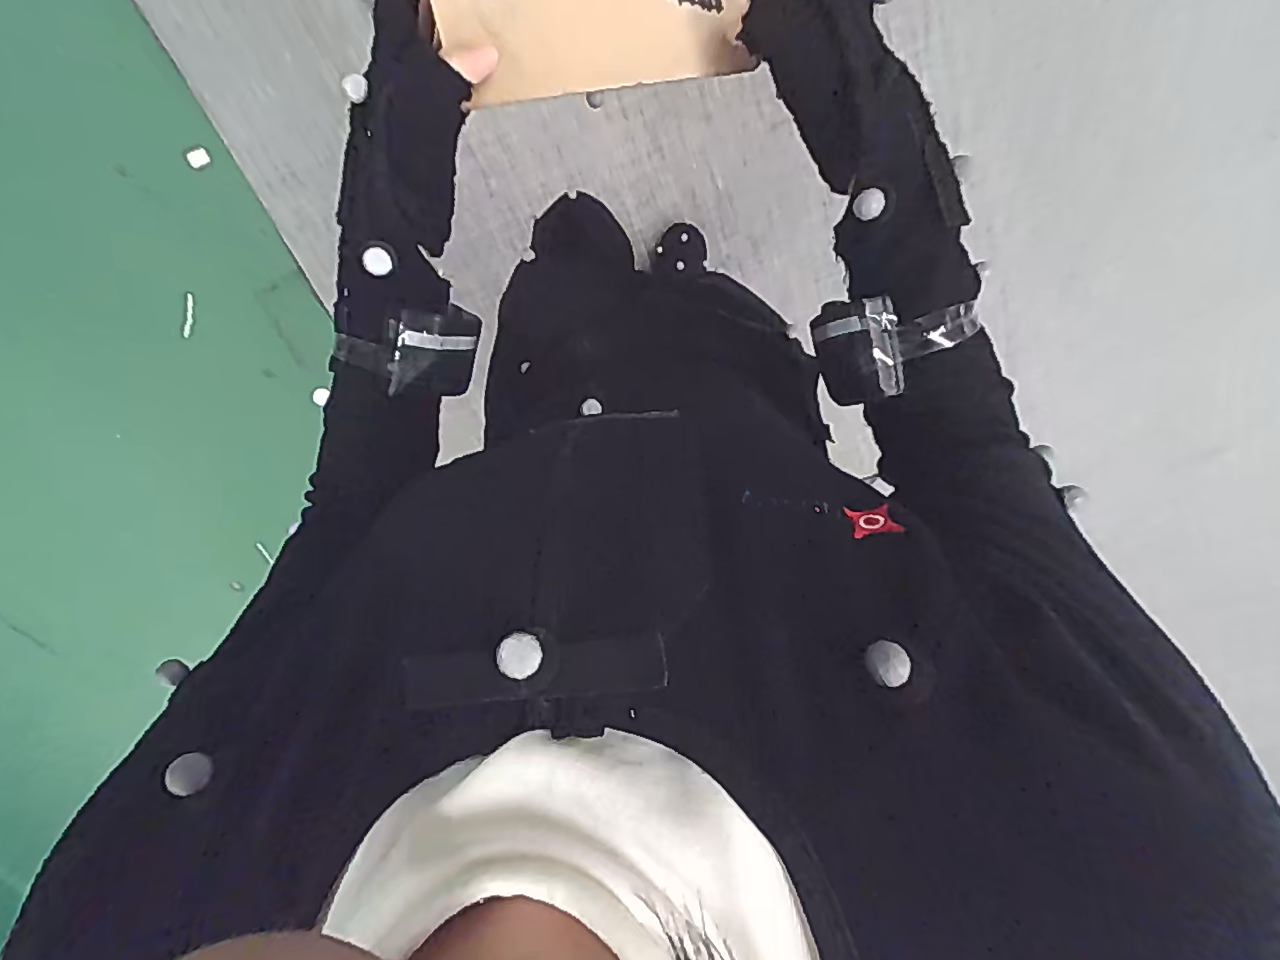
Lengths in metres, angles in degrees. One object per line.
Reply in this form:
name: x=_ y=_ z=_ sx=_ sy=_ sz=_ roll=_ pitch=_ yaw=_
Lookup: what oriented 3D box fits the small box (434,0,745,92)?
small box: x=-0.039 y=-0.355 z=0.329 sx=0.179 sy=0.176 sz=0.168 roll=-8 pitch=131 yaw=0
